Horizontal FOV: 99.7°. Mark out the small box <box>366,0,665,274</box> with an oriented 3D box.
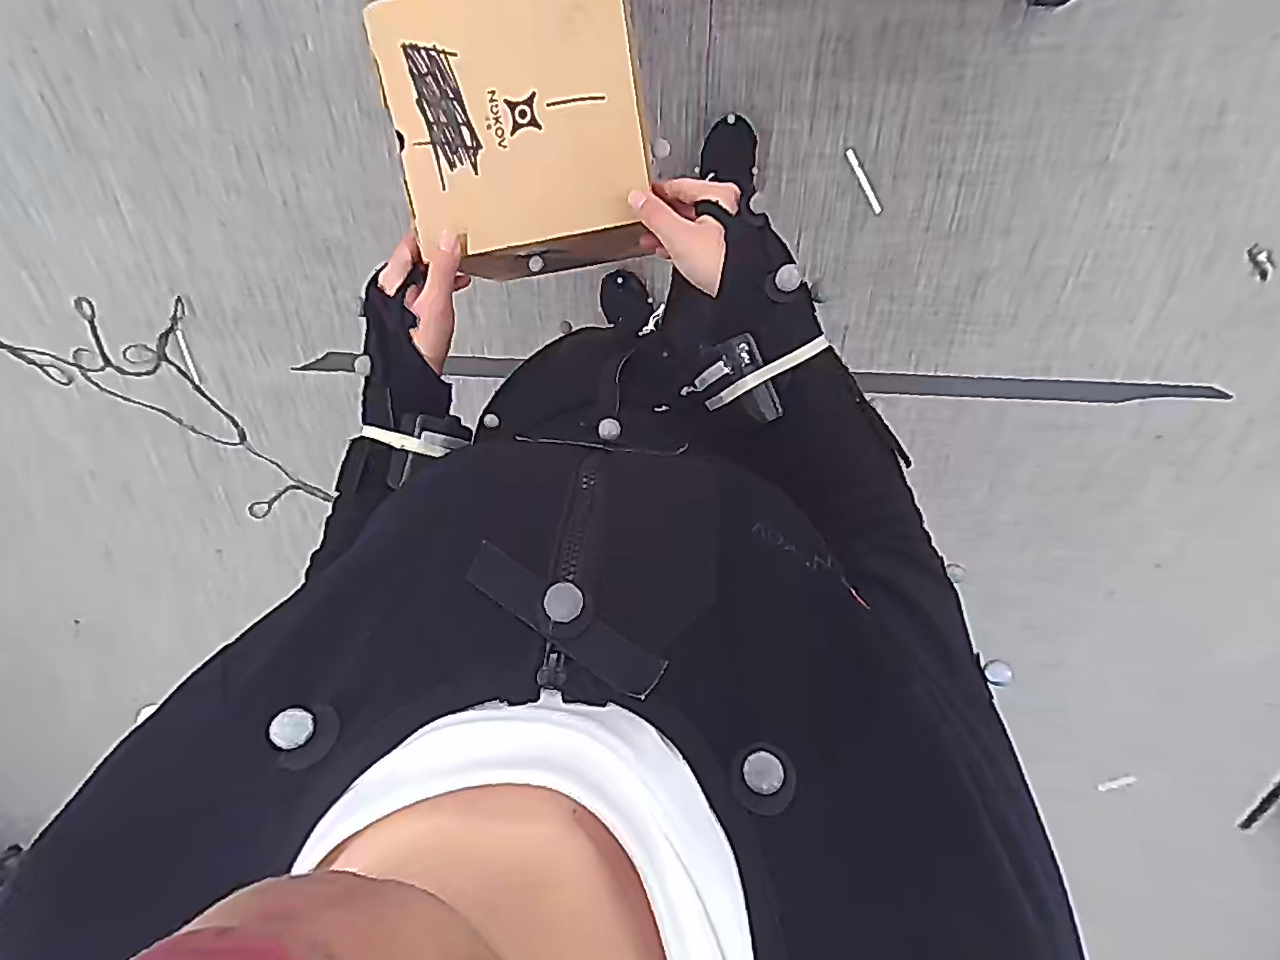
[{"bbox_3d":[-0.078,-0.274,0.441,0.179,0.176,0.168,-8,104,6],"label":"small box"}]
